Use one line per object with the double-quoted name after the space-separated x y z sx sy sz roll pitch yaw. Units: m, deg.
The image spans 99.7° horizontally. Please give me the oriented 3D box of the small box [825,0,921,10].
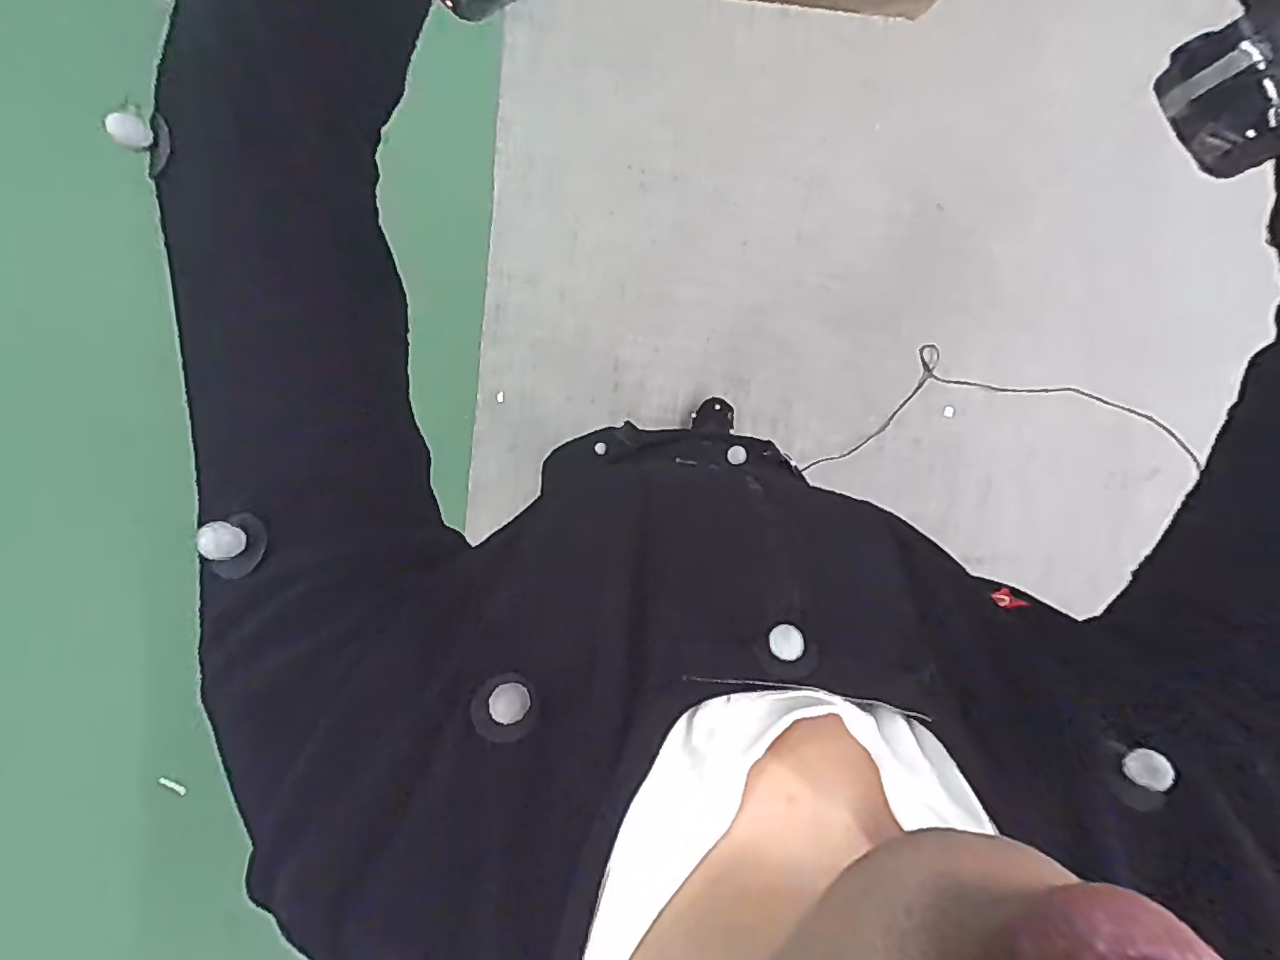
0.140 -0.415 0.305 0.179 0.176 0.168 3 102 -5 "small box"
